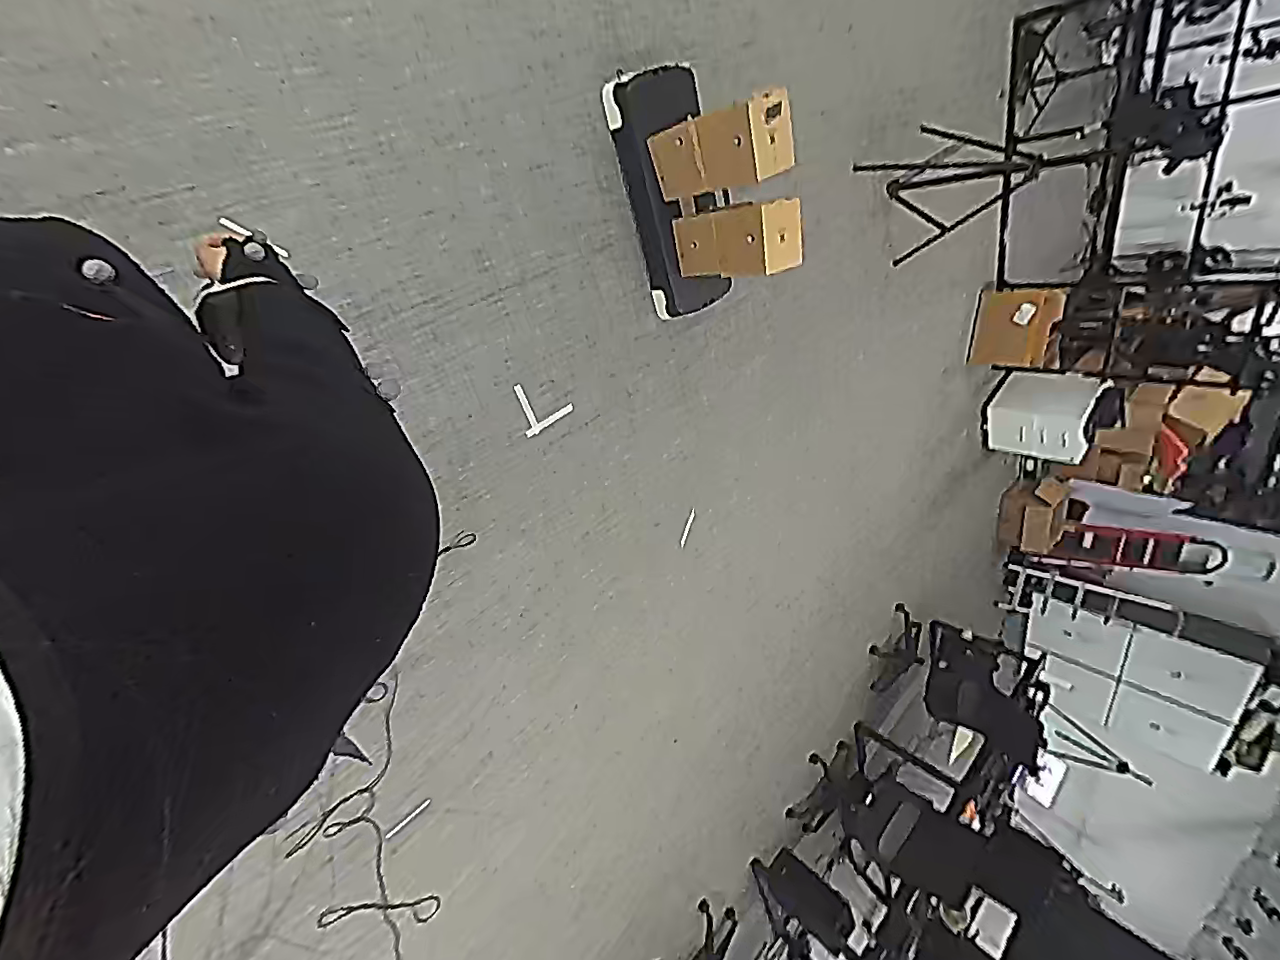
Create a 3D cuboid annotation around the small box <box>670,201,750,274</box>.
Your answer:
[{"bbox_3d":[0.207,-0.728,1.636,0.179,0.176,0.168,-32,124,-30],"label":"small box"}]
